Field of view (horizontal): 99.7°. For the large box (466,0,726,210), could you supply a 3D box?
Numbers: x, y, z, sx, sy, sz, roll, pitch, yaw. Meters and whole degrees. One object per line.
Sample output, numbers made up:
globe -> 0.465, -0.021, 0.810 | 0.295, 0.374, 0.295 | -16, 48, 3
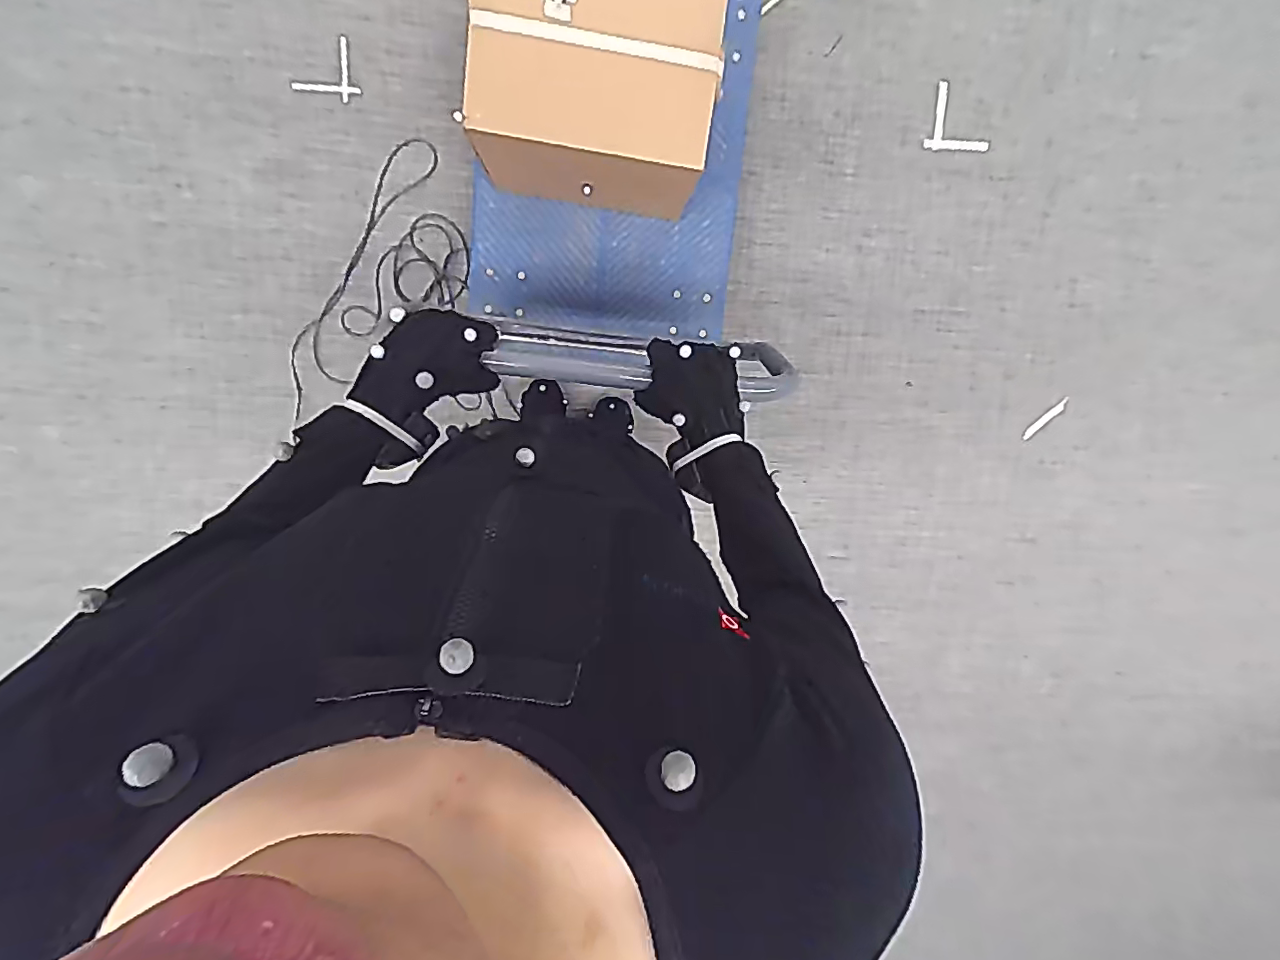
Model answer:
large box -> -0.077, -0.733, 1.014 | 0.408, 0.320, 0.320 | 7, 100, -5
